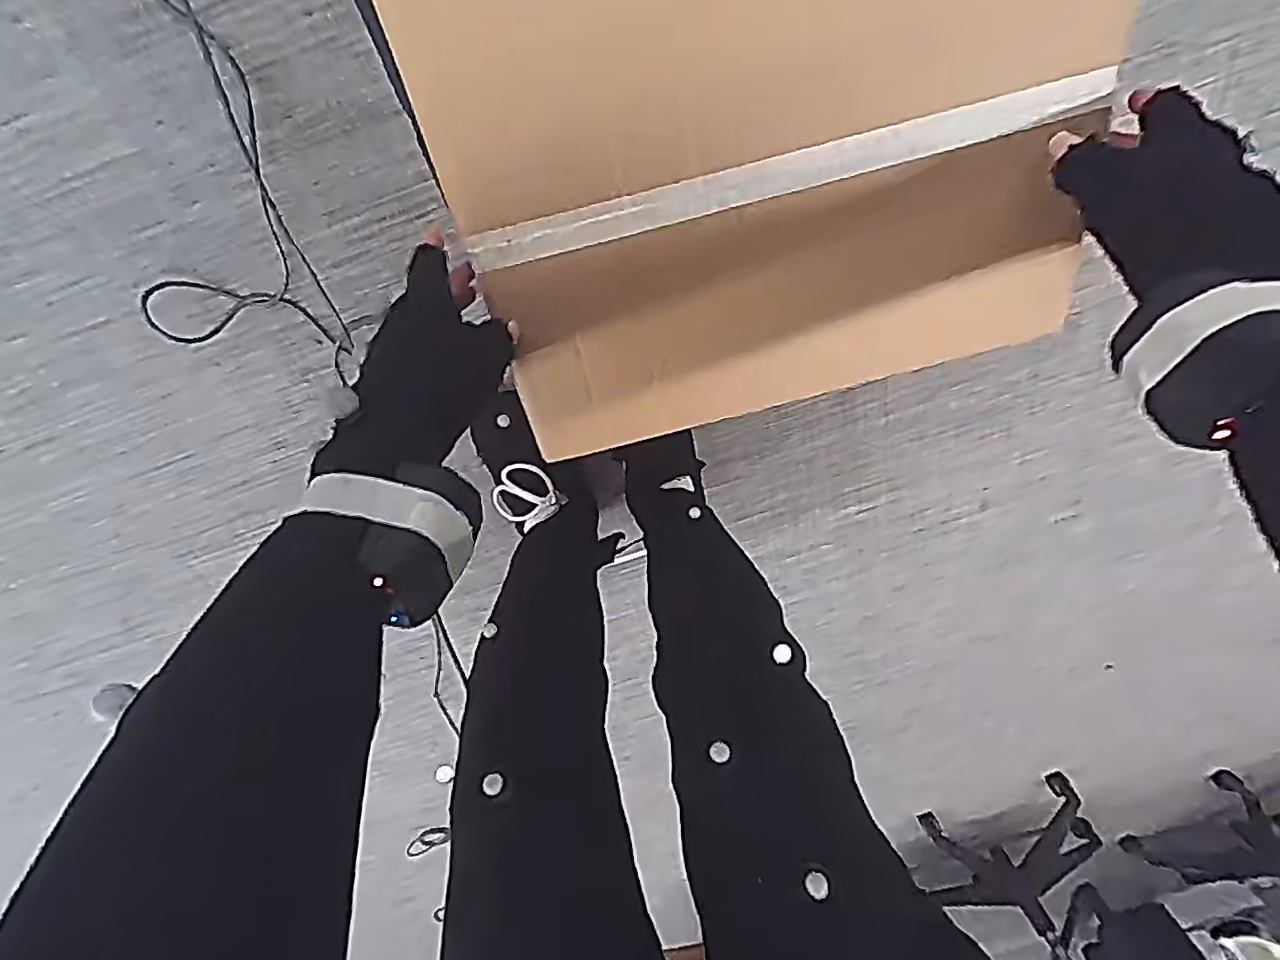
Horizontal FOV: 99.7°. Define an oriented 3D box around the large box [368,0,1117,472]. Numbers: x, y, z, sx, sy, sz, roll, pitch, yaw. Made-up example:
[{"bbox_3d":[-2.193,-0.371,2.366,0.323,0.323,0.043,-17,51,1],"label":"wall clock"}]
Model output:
[{"bbox_3d":[0.069,-0.259,0.460,0.408,0.320,0.320,-15,122,0],"label":"large box"}]
